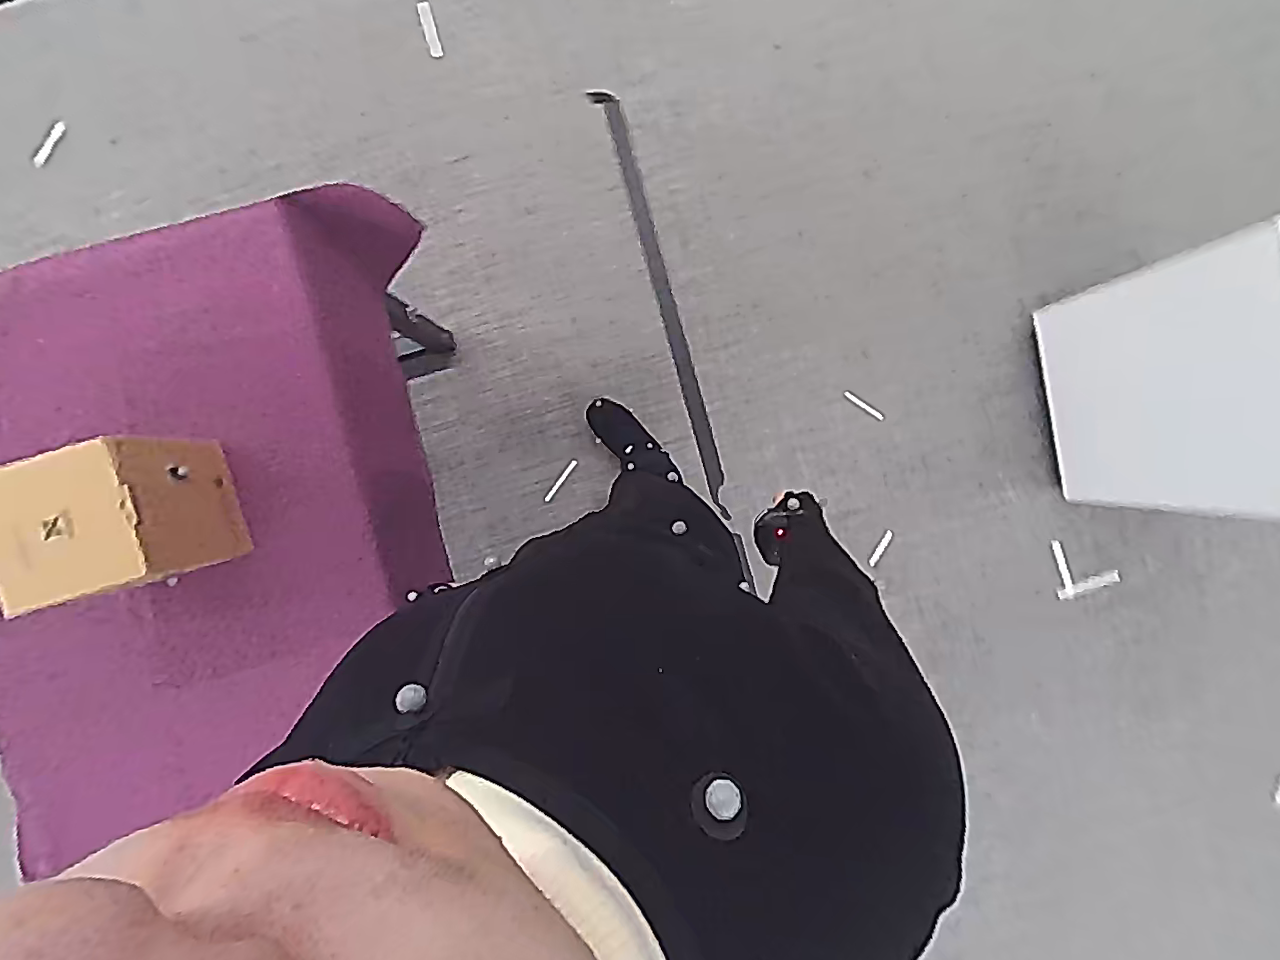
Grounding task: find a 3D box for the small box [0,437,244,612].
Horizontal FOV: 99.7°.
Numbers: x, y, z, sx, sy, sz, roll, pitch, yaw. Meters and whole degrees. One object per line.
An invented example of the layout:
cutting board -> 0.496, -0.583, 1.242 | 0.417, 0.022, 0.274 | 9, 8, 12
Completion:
small box -> -0.652, 0.047, 0.689 | 0.179, 0.176, 0.168 | -16, 92, 1
